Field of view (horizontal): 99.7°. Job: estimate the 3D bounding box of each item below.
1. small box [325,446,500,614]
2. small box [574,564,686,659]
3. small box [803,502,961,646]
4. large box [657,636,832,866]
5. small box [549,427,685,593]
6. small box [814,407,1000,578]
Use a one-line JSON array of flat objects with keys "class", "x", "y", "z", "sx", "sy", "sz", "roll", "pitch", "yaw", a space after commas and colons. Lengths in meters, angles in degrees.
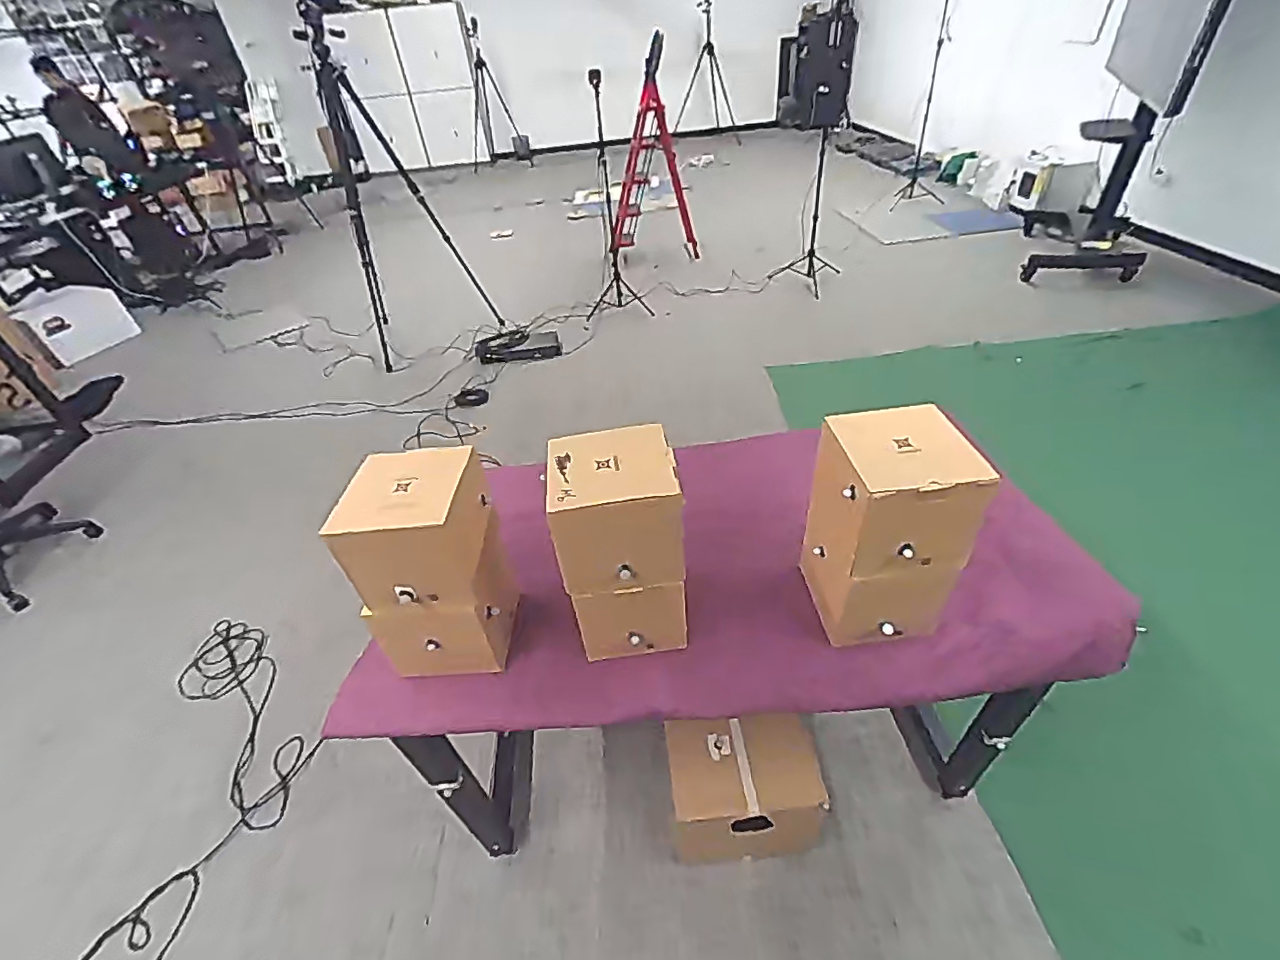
[{"class": "small box", "x": -0.316, "y": 0.072, "z": 0.798, "sx": 0.168, "sy": 0.176, "sz": 0.179, "roll": -6, "pitch": 40, "yaw": 2}, {"class": "small box", "x": -0.018, "y": 0.169, "z": 0.900, "sx": 0.168, "sy": 0.176, "sz": 0.179, "roll": -8, "pitch": 40, "yaw": -1}, {"class": "small box", "x": 0.376, "y": 0.143, "z": 0.882, "sx": 0.168, "sy": 0.176, "sz": 0.179, "roll": -7, "pitch": 41, "yaw": 0}, {"class": "large box", "x": 0.227, "y": 0.654, "z": 1.325, "sx": 0.320, "sy": 0.320, "sz": 0.408, "roll": -8, "pitch": 41, "yaw": 0}, {"class": "small box", "x": -0.032, "y": 0.044, "z": 0.794, "sx": 0.179, "sy": 0.176, "sz": 0.168, "roll": -7, "pitch": 39, "yaw": -2}, {"class": "small box", "x": 0.364, "y": 0.017, "z": 0.781, "sx": 0.168, "sy": 0.176, "sz": 0.179, "roll": -7, "pitch": 40, "yaw": -1}]
